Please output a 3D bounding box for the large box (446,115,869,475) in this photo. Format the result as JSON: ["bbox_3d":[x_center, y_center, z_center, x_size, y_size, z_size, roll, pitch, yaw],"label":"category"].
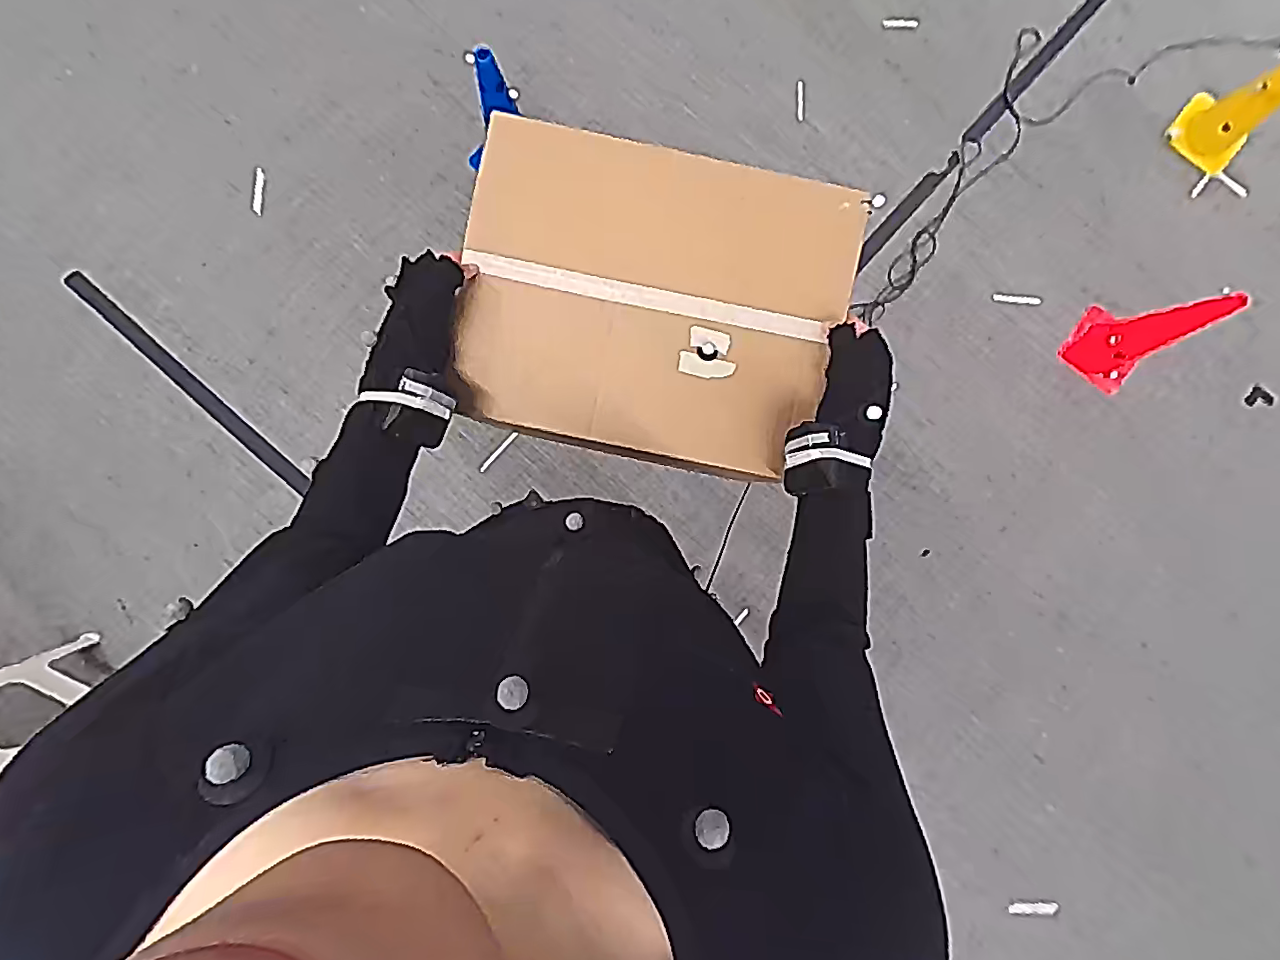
[{"bbox_3d":[0.015,-0.195,0.715,0.408,0.320,0.320,12,91,-1],"label":"large box"}]

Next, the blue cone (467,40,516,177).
[{"bbox_3d":[-0.365,-0.946,1.395,0.192,0.380,0.193,44,86,3],"label":"blue cone"}]

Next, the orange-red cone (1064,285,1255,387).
[{"bbox_3d":[1.340,-0.404,1.374,0.198,0.360,0.199,39,85,1],"label":"orange-red cone"}]
